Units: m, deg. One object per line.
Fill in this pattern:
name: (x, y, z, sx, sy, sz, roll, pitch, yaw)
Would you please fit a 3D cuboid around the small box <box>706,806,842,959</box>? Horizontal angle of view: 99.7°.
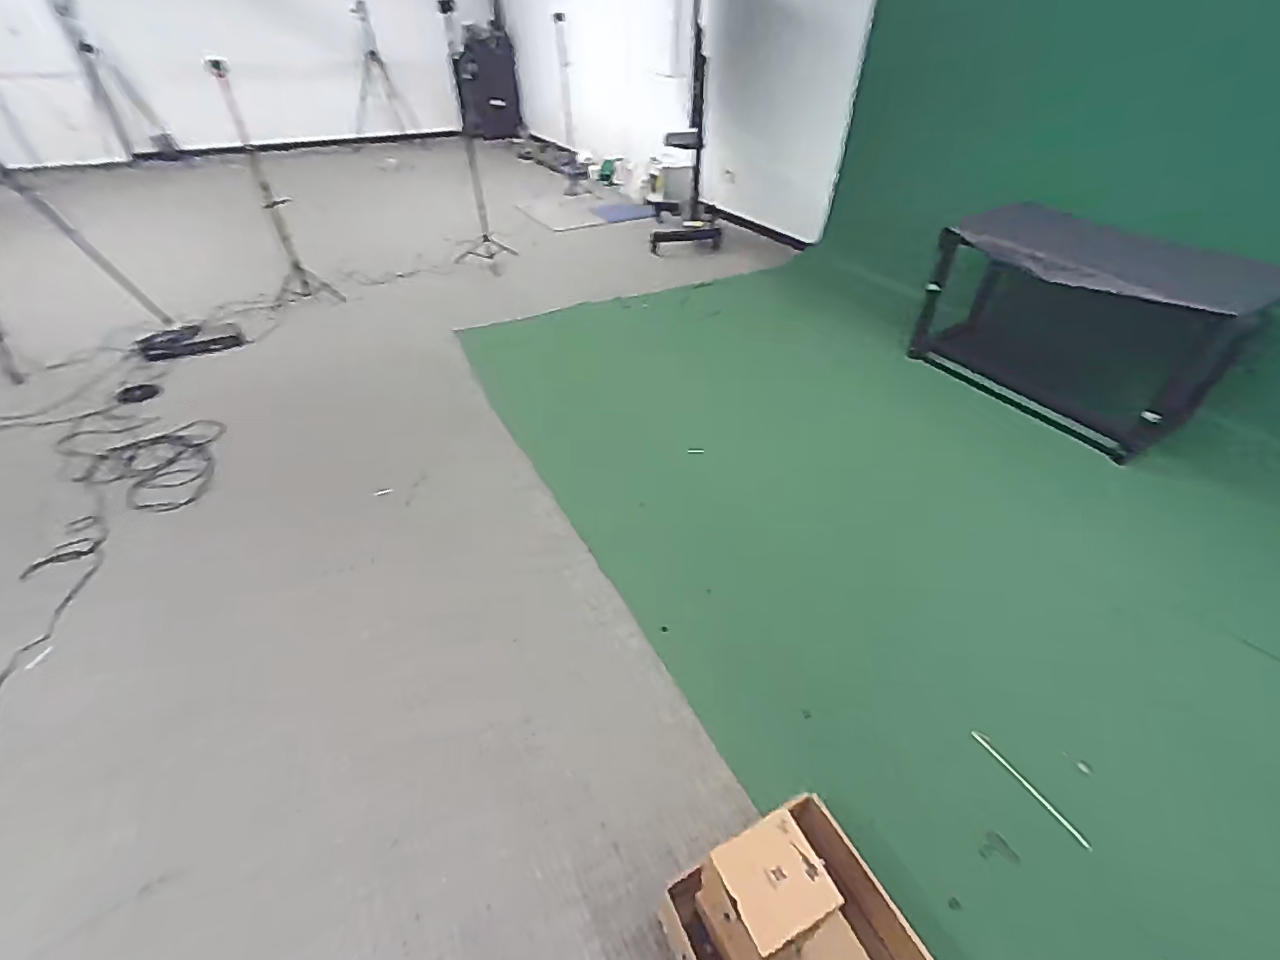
small box: (0.235, 0.748, 0.992, 0.179, 0.176, 0.168, -18, 44, -19)
